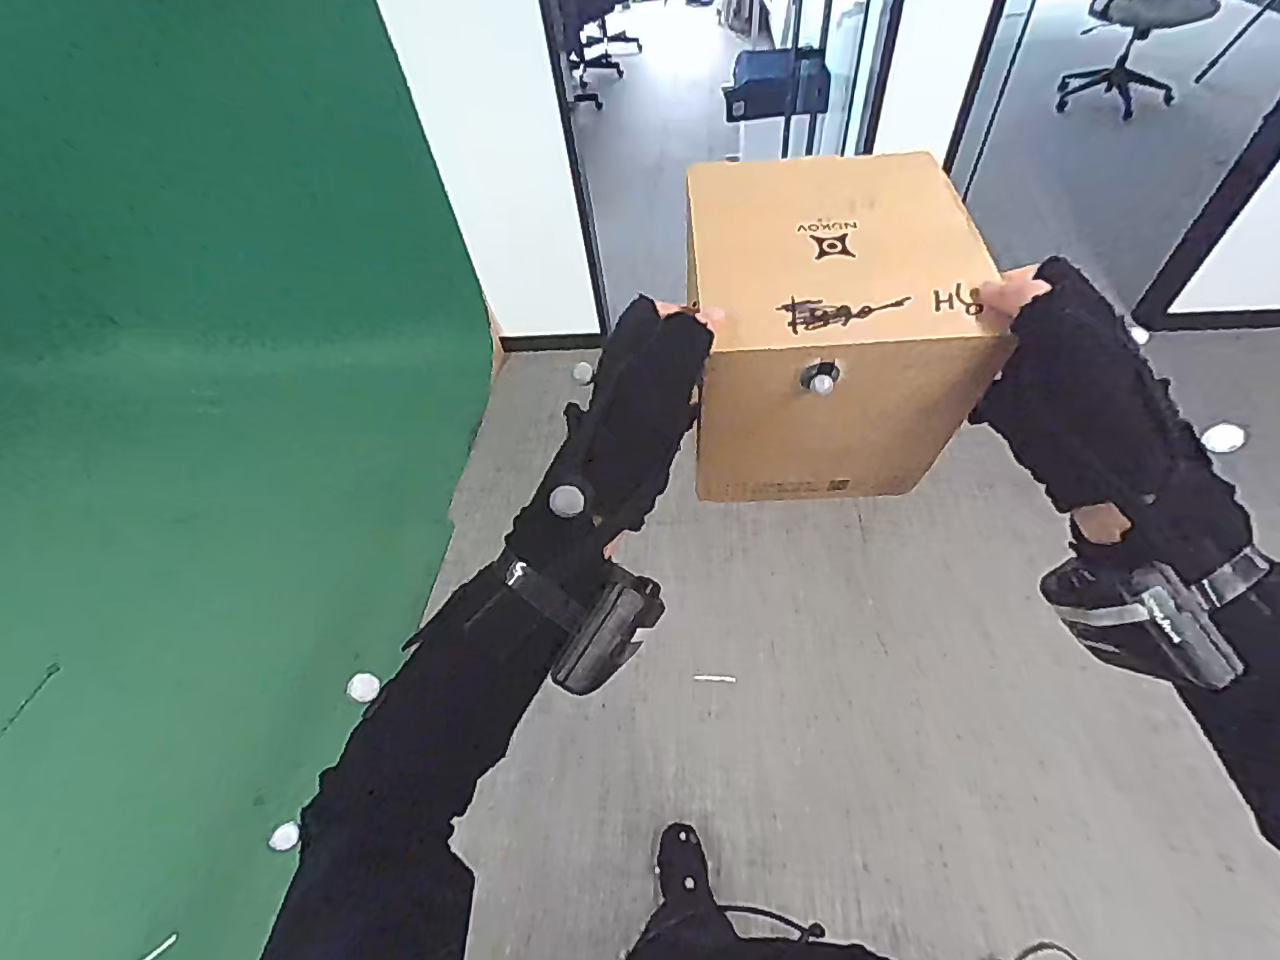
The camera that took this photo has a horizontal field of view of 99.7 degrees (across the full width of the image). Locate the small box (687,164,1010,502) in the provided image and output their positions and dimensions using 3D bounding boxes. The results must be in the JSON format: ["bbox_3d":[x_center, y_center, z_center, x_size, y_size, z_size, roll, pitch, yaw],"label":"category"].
[{"bbox_3d":[0.120,-0.101,0.401,0.168,0.176,0.179,-2,57,4],"label":"small box"}]
